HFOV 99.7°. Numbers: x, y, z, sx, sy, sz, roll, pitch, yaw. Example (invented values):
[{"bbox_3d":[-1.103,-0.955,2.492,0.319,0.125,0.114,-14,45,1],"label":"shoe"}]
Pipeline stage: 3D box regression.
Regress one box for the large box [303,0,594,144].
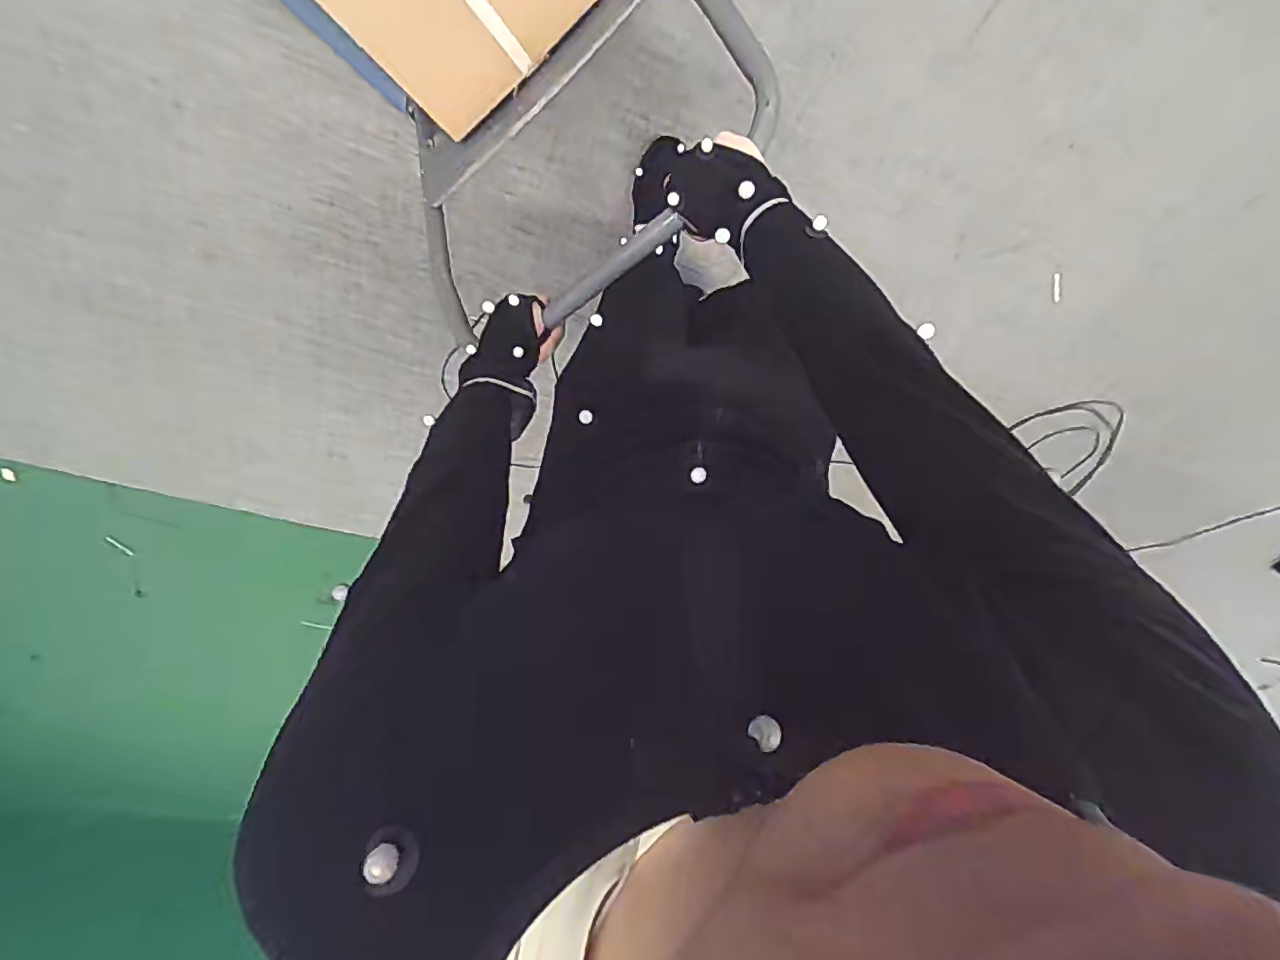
[{"bbox_3d":[-0.310,-0.784,0.726,0.320,0.320,0.408,-30,145,24],"label":"large box"}]
